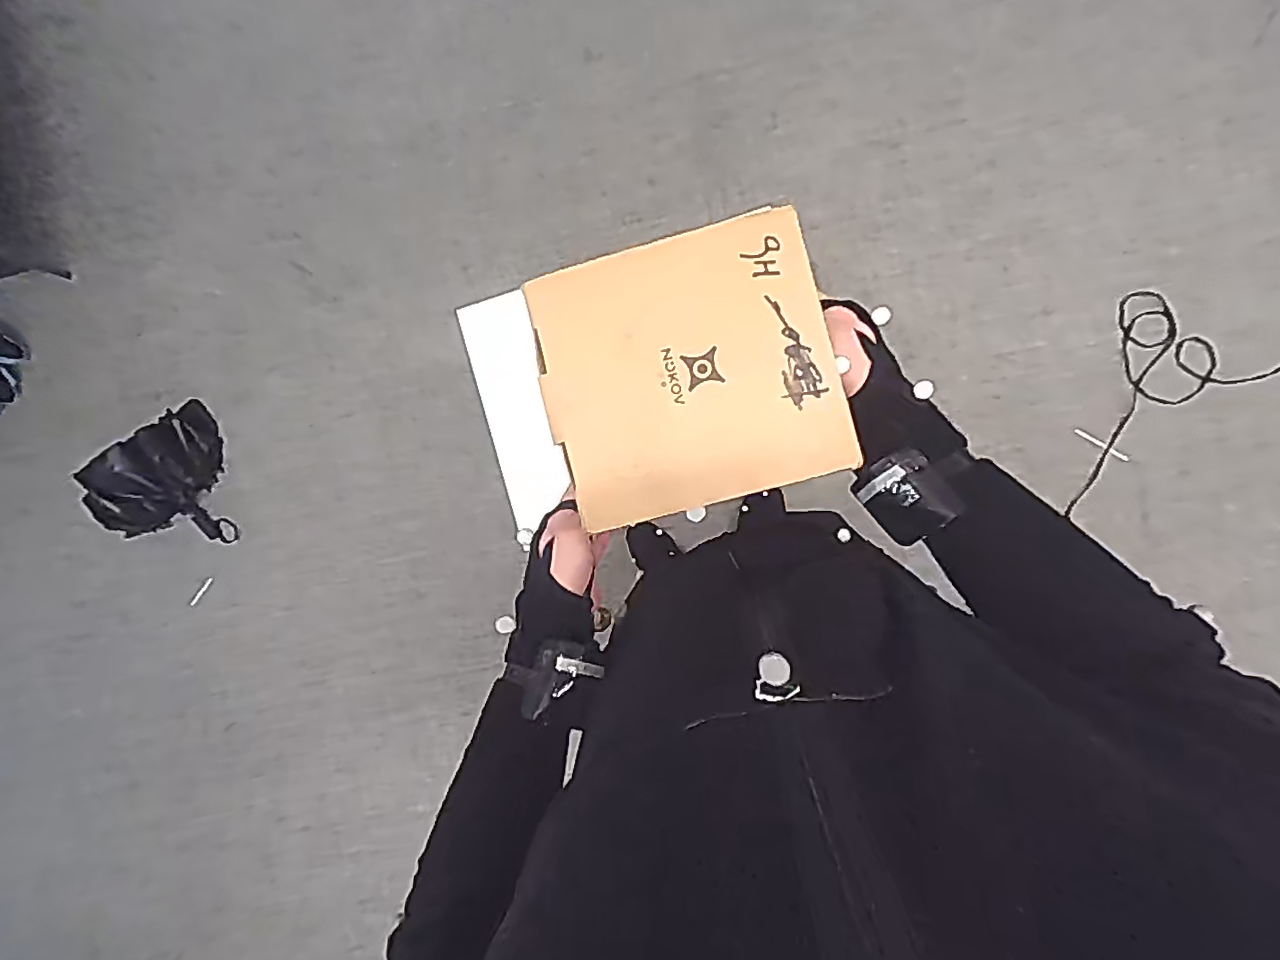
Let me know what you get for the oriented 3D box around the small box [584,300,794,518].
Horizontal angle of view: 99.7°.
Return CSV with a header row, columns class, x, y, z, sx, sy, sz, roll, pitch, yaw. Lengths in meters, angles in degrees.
class,x,y,z,sx,sy,sz,roll,pitch,yaw
small box,0.049,-0.063,0.580,0.168,0.176,0.179,-14,89,5
